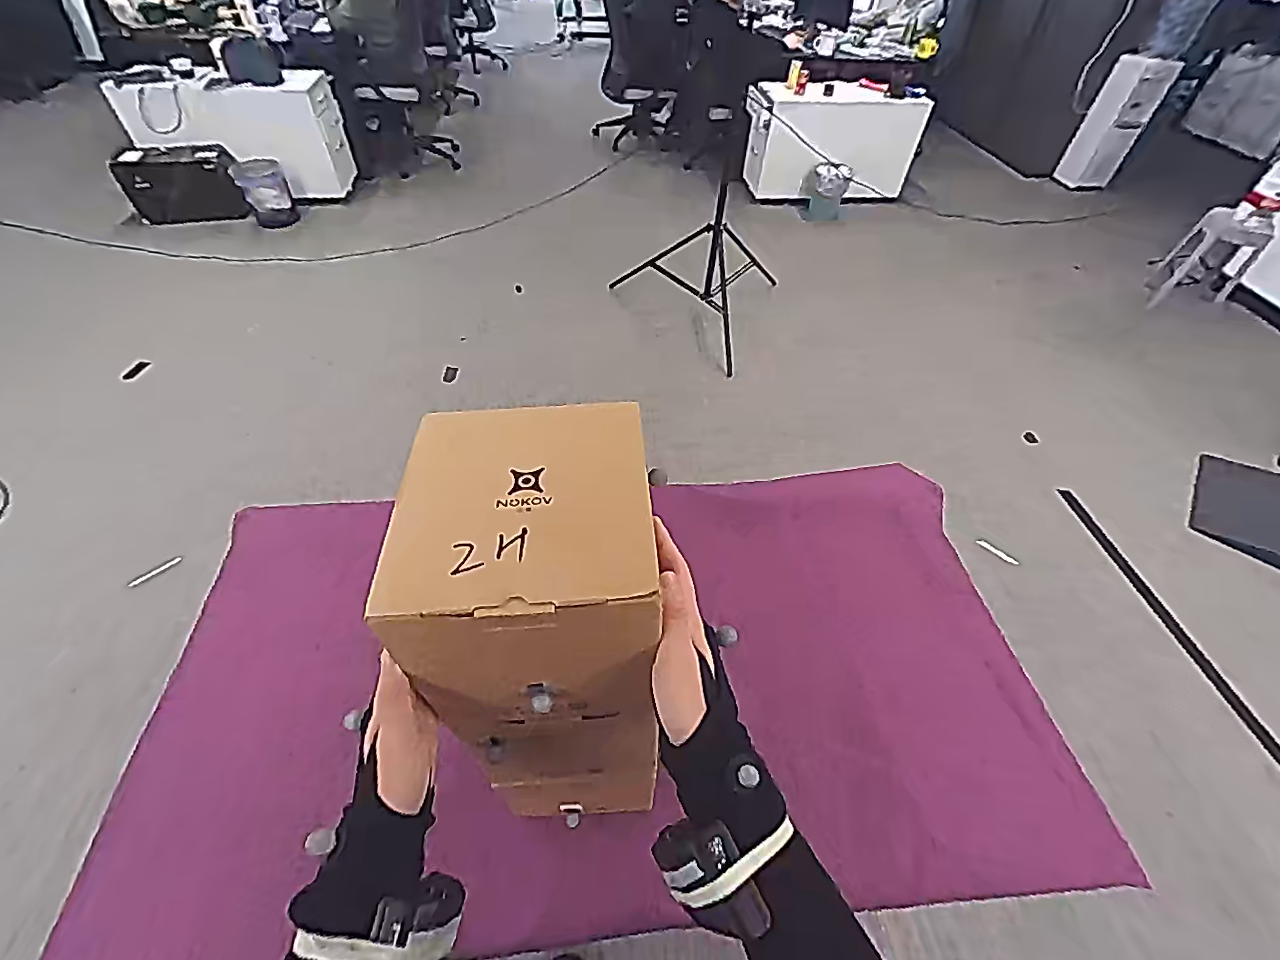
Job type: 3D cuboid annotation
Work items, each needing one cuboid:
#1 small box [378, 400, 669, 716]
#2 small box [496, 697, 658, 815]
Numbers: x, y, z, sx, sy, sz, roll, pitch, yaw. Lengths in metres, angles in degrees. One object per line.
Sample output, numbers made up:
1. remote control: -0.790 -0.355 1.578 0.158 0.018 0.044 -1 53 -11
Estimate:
1. small box: -0.070 0.059 0.416 0.168 0.176 0.179 -4 47 -3
2. small box: -0.069 0.286 0.656 0.168 0.176 0.179 -3 49 -3
